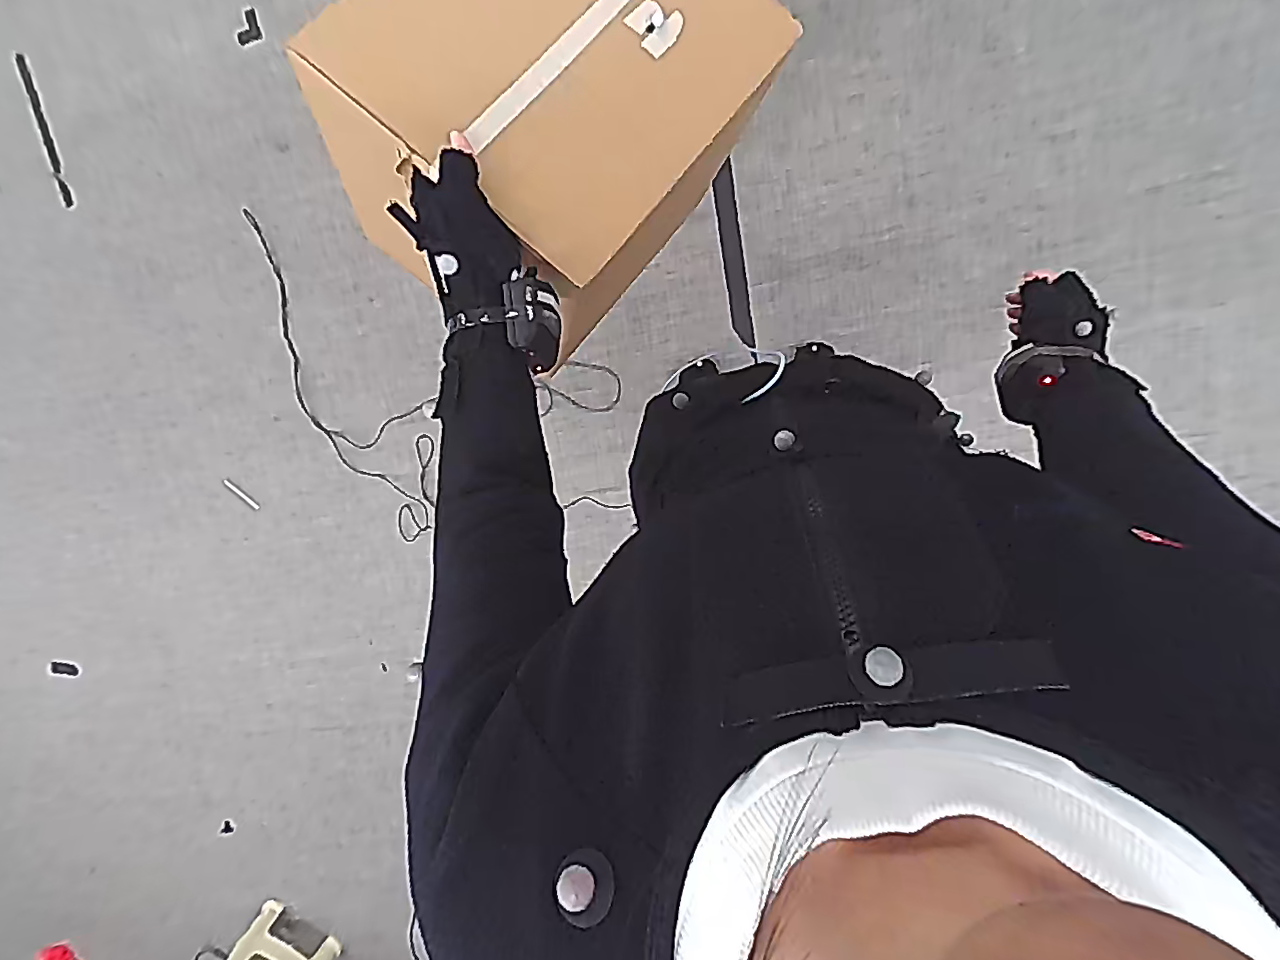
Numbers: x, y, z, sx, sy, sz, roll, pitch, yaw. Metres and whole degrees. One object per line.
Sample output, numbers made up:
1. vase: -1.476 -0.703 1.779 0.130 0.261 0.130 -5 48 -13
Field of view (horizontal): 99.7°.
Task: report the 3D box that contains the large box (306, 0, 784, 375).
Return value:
1. large box: -0.104 -0.410 0.676 0.320 0.320 0.408 38 75 -9
